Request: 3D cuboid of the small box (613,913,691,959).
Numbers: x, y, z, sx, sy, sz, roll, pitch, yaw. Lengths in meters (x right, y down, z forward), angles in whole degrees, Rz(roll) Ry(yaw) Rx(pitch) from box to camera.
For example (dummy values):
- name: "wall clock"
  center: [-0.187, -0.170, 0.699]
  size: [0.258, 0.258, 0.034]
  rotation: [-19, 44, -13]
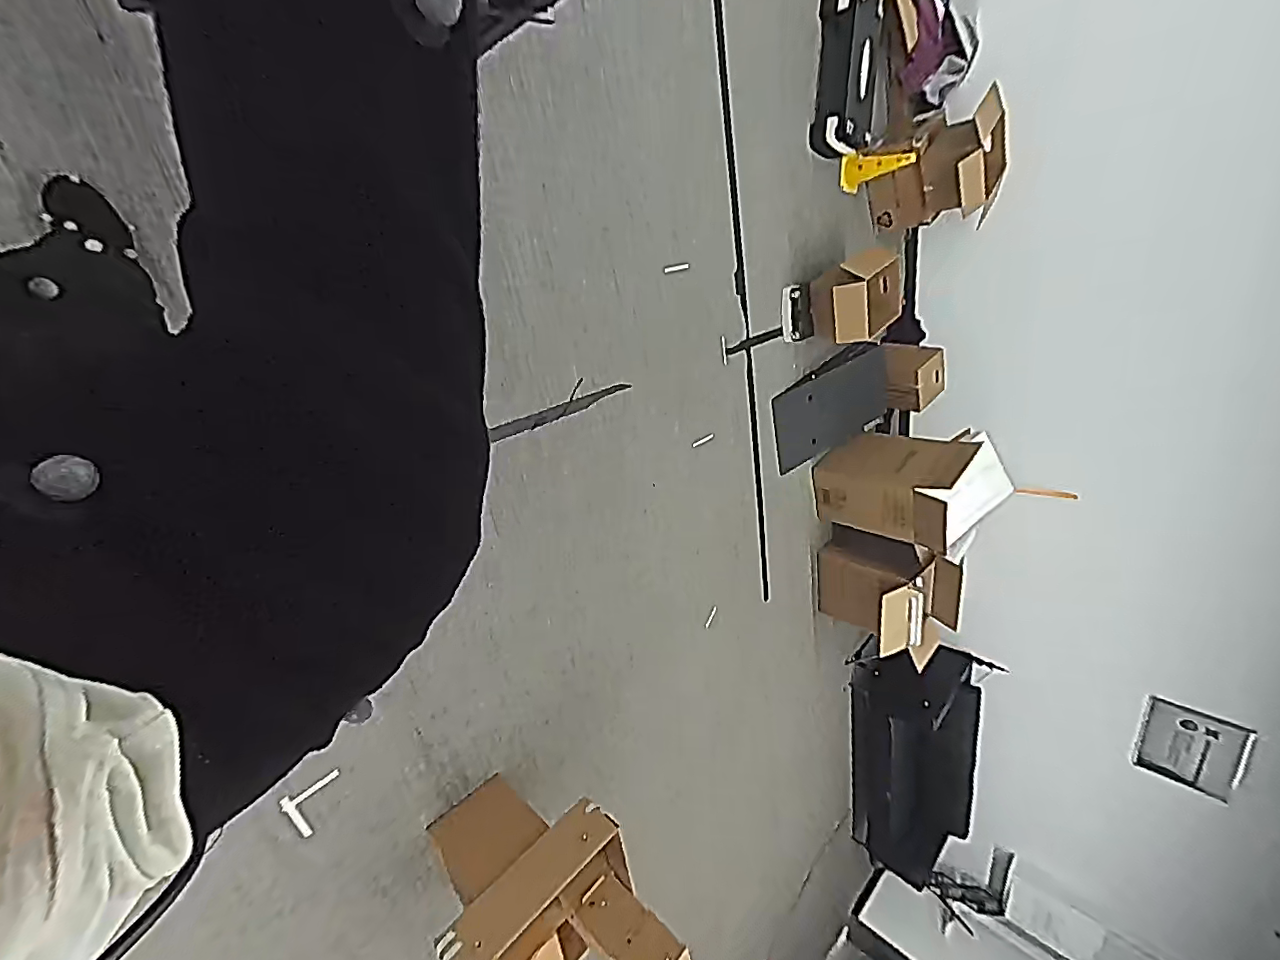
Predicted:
- name: "small box"
  center: [0.041, 1.472, 1.630]
  size: [0.168, 0.176, 0.179]
  rotation: [-31, 123, -37]

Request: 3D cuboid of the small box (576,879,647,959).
- name: "small box"
  center: [-0.080, 1.443, 1.739]
  size: [0.168, 0.176, 0.179]
  rotation: [-31, 121, -37]

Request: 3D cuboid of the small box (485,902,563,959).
- name: "small box"
  center: [-0.363, 1.494, 1.702]
  size: [0.168, 0.176, 0.179]
  rotation: [-26, 118, -40]
